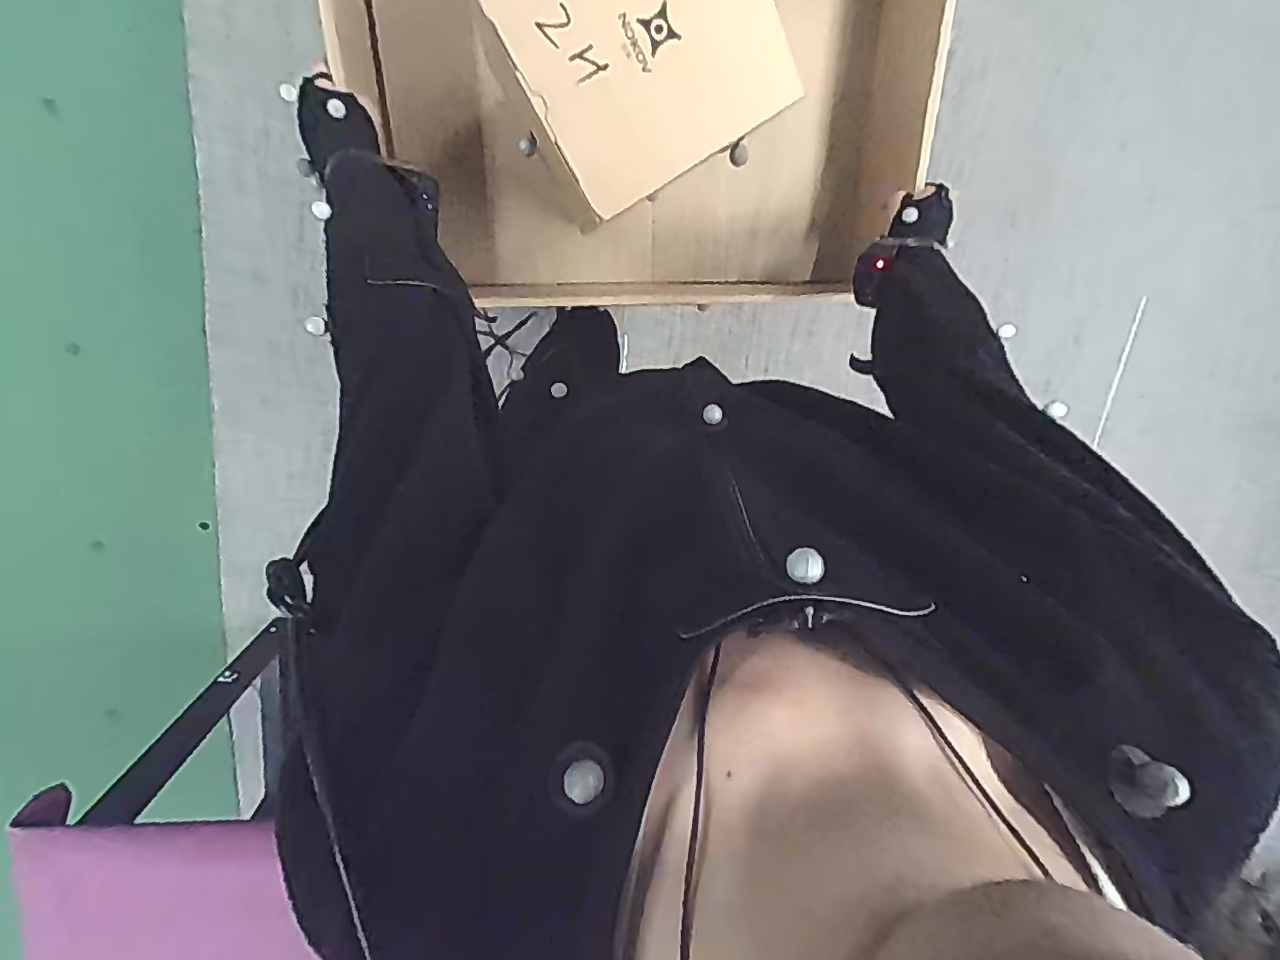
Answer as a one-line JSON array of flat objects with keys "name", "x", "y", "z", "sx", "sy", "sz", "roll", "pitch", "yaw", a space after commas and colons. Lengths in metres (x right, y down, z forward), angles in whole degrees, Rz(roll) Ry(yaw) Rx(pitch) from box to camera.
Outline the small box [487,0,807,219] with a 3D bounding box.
[{"name": "small box", "x": -0.007, "y": -0.330, "z": 0.424, "sx": 0.179, "sy": 0.176, "sz": 0.168, "roll": -31, "pitch": 113, "yaw": 3}]
